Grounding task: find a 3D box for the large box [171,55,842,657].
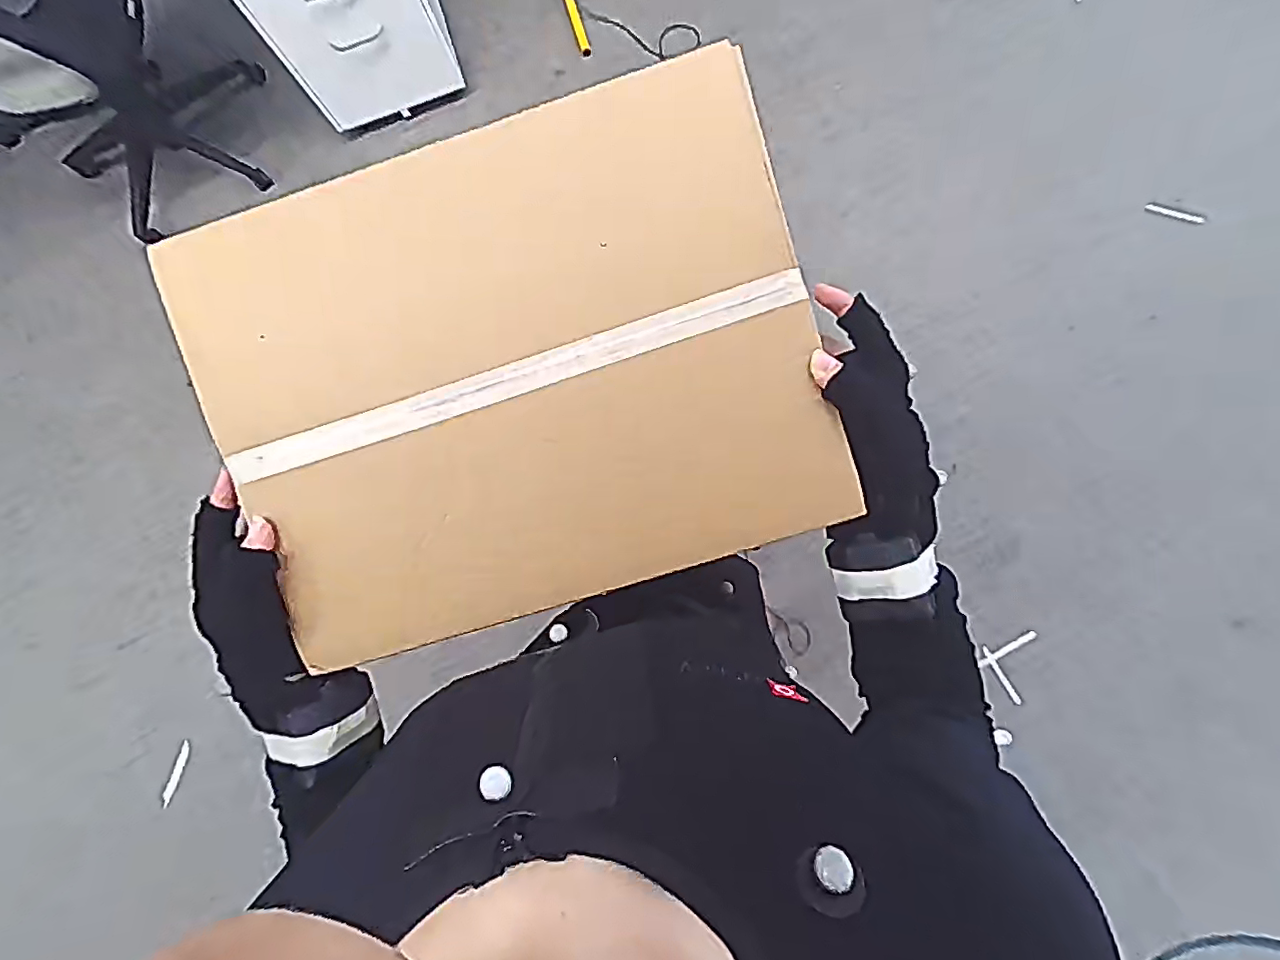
[{"bbox_3d":[-0.085,-0.089,0.521,0.408,0.320,0.320,-17,95,4],"label":"large box"}]
